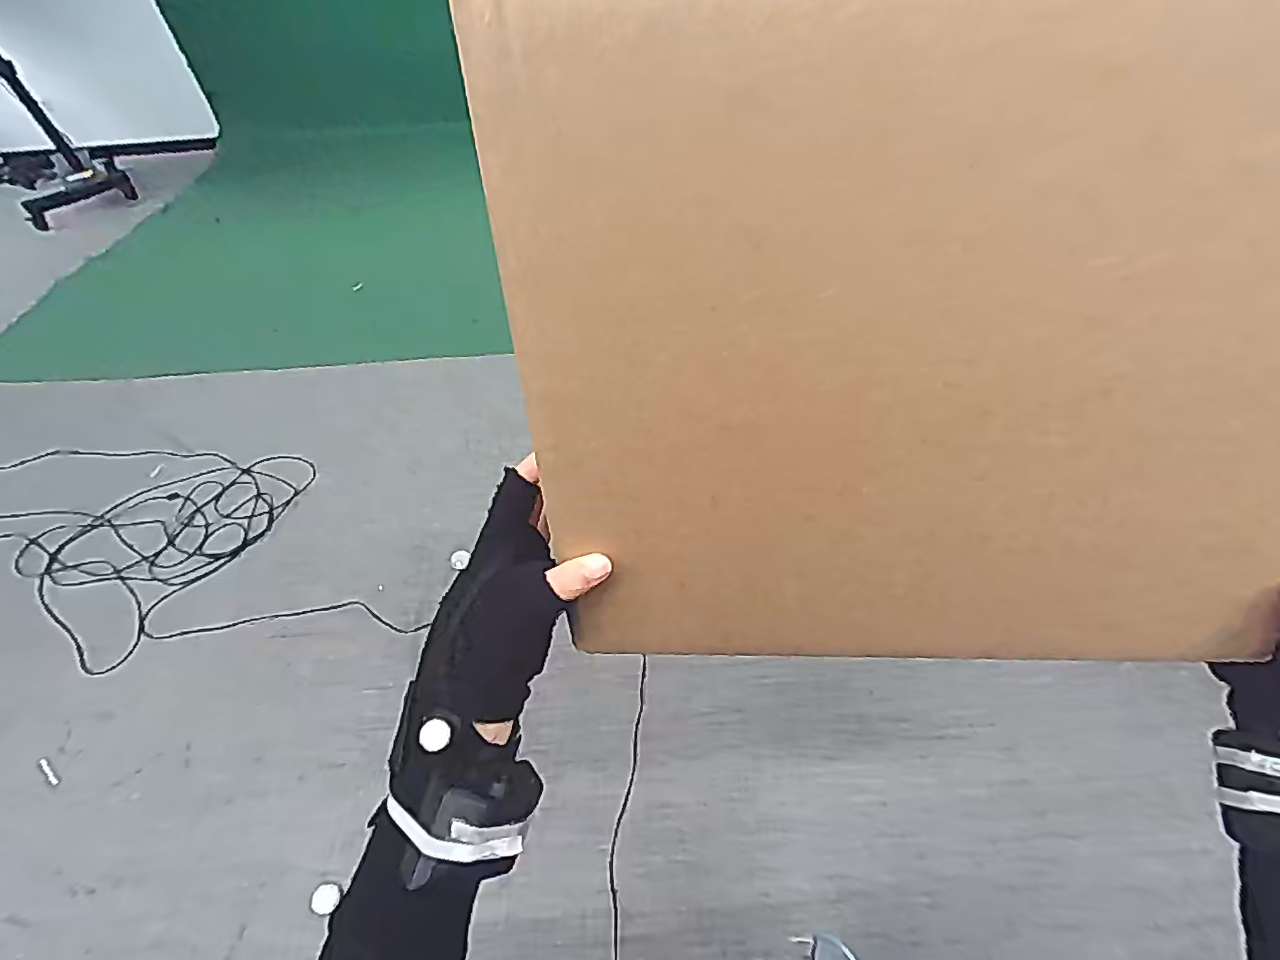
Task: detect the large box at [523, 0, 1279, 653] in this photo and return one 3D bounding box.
[{"bbox_3d":[0.165,-0.105,0.353,0.408,0.320,0.320,0,38,1],"label":"large box"}]
